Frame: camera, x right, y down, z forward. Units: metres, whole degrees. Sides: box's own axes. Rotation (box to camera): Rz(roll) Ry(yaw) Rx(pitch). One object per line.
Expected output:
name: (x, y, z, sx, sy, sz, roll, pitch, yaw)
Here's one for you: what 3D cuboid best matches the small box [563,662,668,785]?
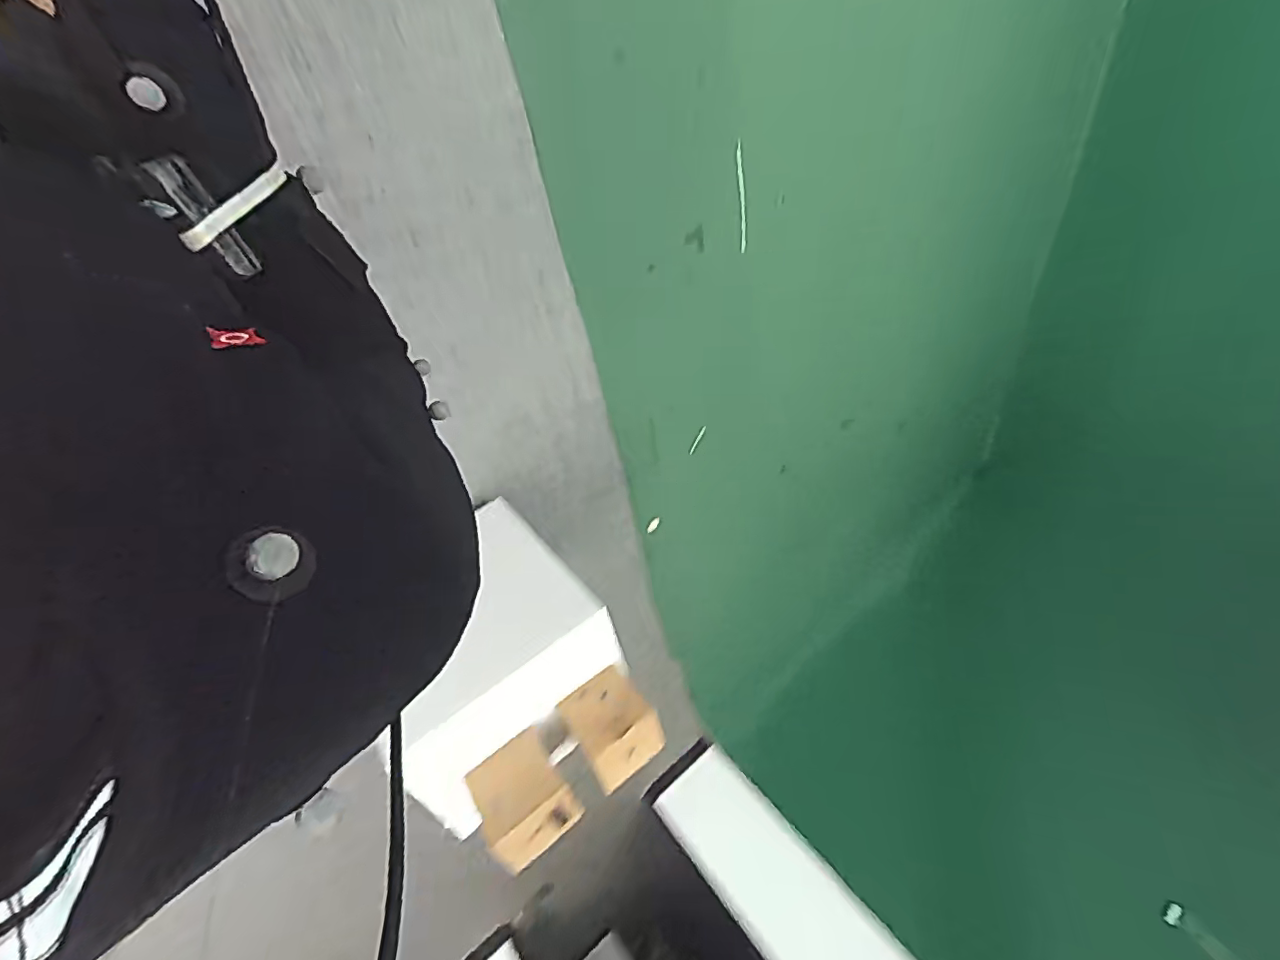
small box: (-0.058, 0.569, 1.282, 0.168, 0.176, 0.179, -32, 132, -22)
